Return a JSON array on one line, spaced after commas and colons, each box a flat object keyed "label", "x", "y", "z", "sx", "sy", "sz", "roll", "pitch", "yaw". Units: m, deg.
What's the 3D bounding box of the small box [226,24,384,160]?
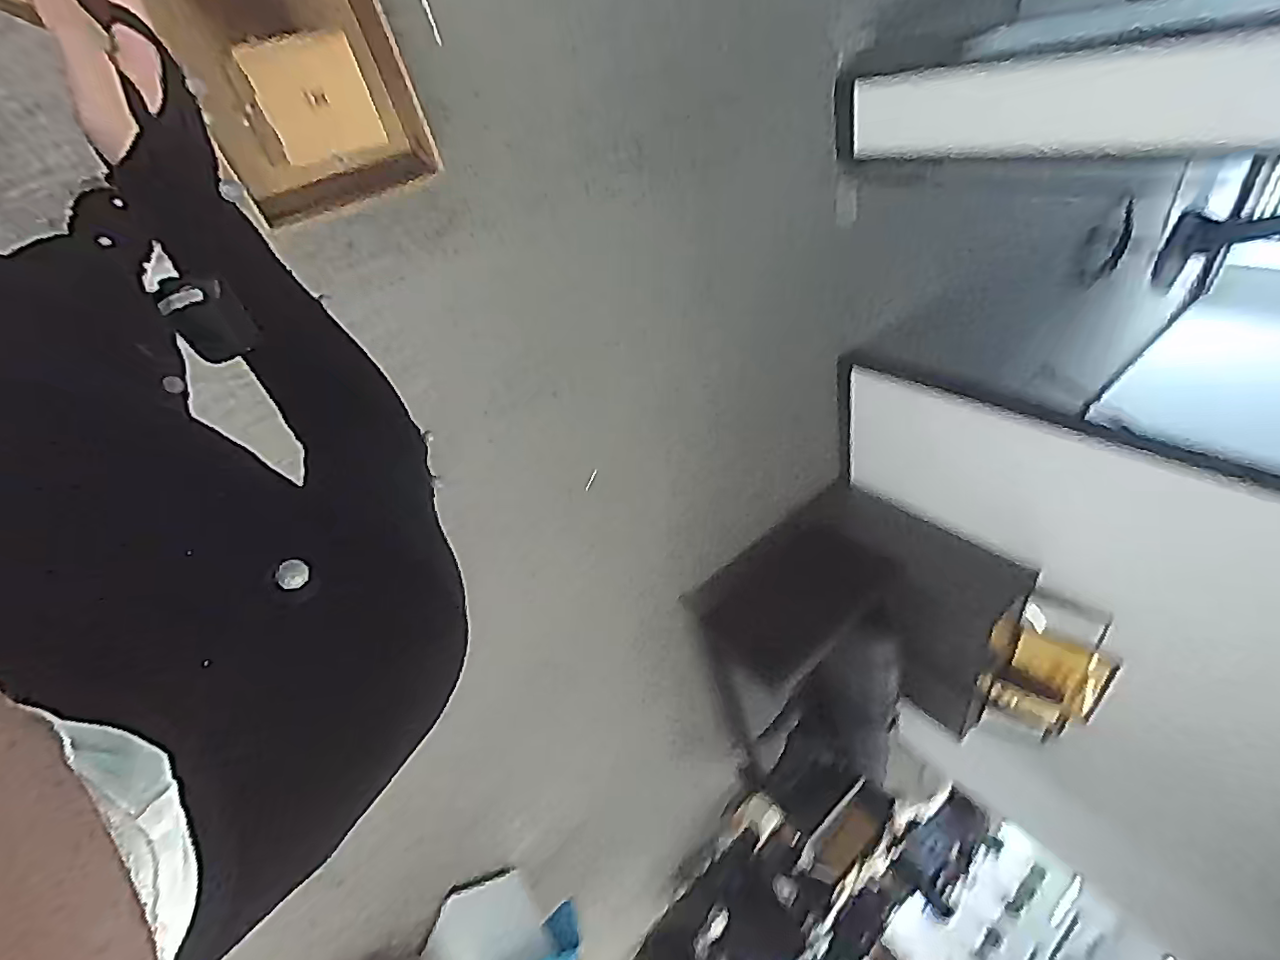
[{"label": "small box", "x": -0.595, "y": -0.685, "z": 0.961, "sx": 0.179, "sy": 0.176, "sz": 0.168, "roll": -31, "pitch": 132, "yaw": -22}]
